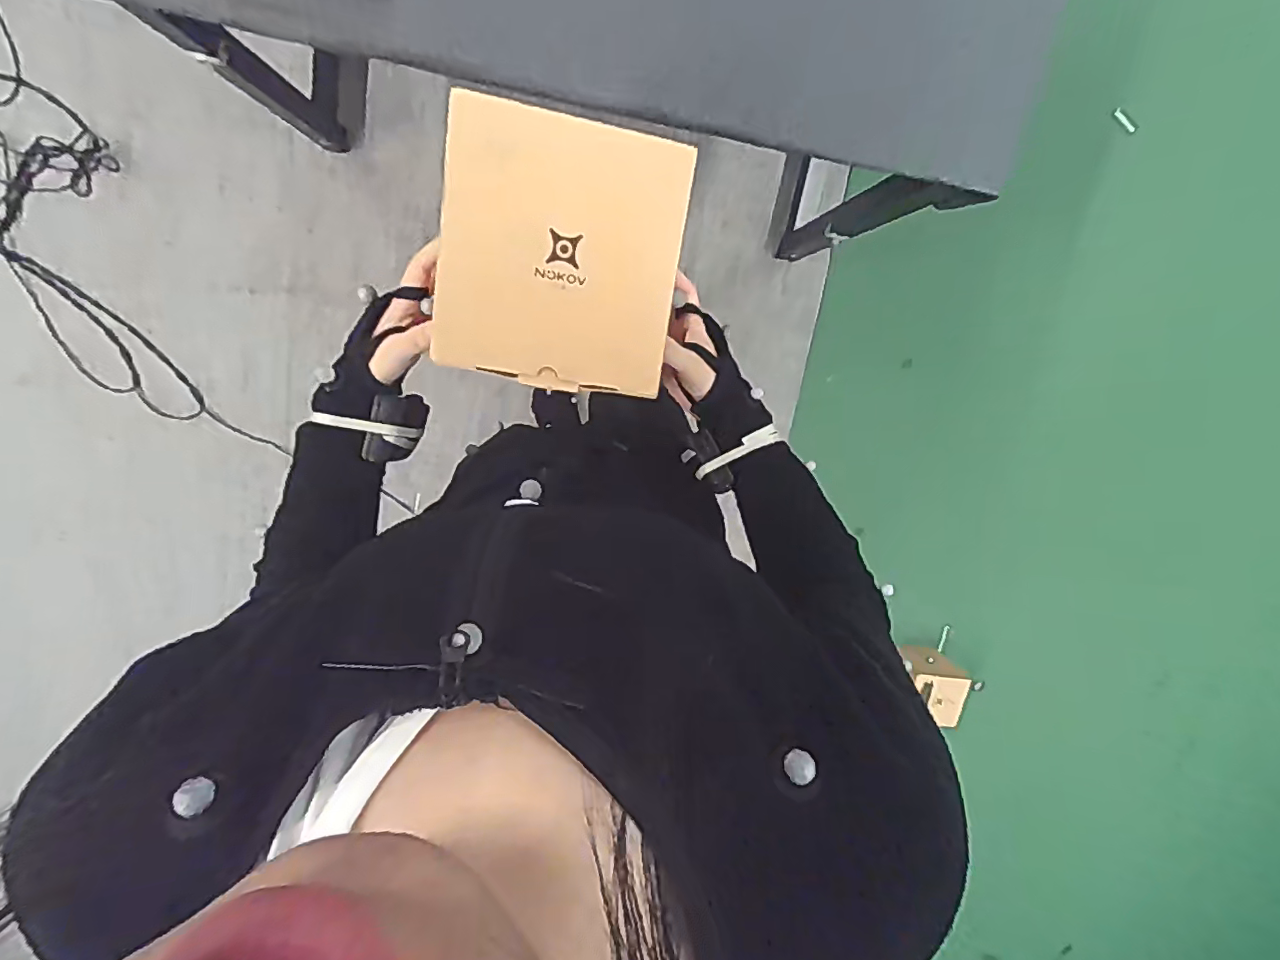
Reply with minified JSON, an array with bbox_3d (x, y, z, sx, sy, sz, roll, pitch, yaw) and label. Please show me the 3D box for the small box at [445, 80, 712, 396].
[{"bbox_3d":[-0.057,-0.174,0.444,0.168,0.176,0.179,6,102,-13],"label":"small box"}]
